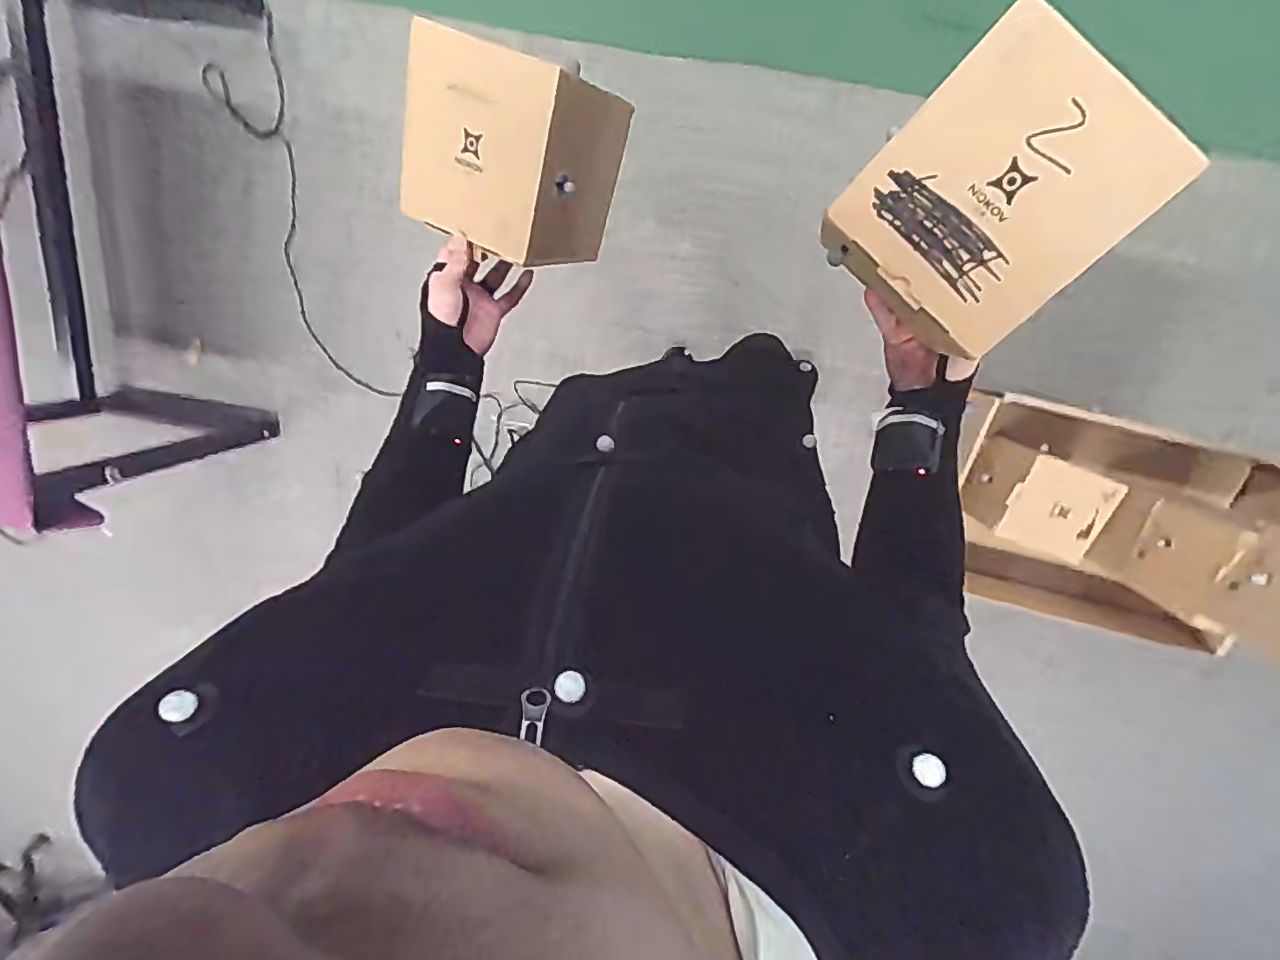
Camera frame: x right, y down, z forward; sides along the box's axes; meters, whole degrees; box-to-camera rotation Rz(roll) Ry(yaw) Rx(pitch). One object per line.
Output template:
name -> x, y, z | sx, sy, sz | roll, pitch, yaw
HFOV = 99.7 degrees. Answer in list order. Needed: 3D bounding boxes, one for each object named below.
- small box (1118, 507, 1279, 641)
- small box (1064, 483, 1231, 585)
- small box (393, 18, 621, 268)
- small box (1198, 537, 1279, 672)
small box -> 0.974, 0.159, 0.900 | 0.179, 0.176, 0.168 | 14, 107, 4
small box -> 0.996, 0.117, 1.055 | 0.179, 0.176, 0.168 | 15, 106, 3
small box -> -0.139, -0.351, 0.592 | 0.168, 0.176, 0.179 | 27, 121, 12
small box -> 0.960, 0.201, 0.741 | 0.179, 0.176, 0.168 | 24, 107, 1
